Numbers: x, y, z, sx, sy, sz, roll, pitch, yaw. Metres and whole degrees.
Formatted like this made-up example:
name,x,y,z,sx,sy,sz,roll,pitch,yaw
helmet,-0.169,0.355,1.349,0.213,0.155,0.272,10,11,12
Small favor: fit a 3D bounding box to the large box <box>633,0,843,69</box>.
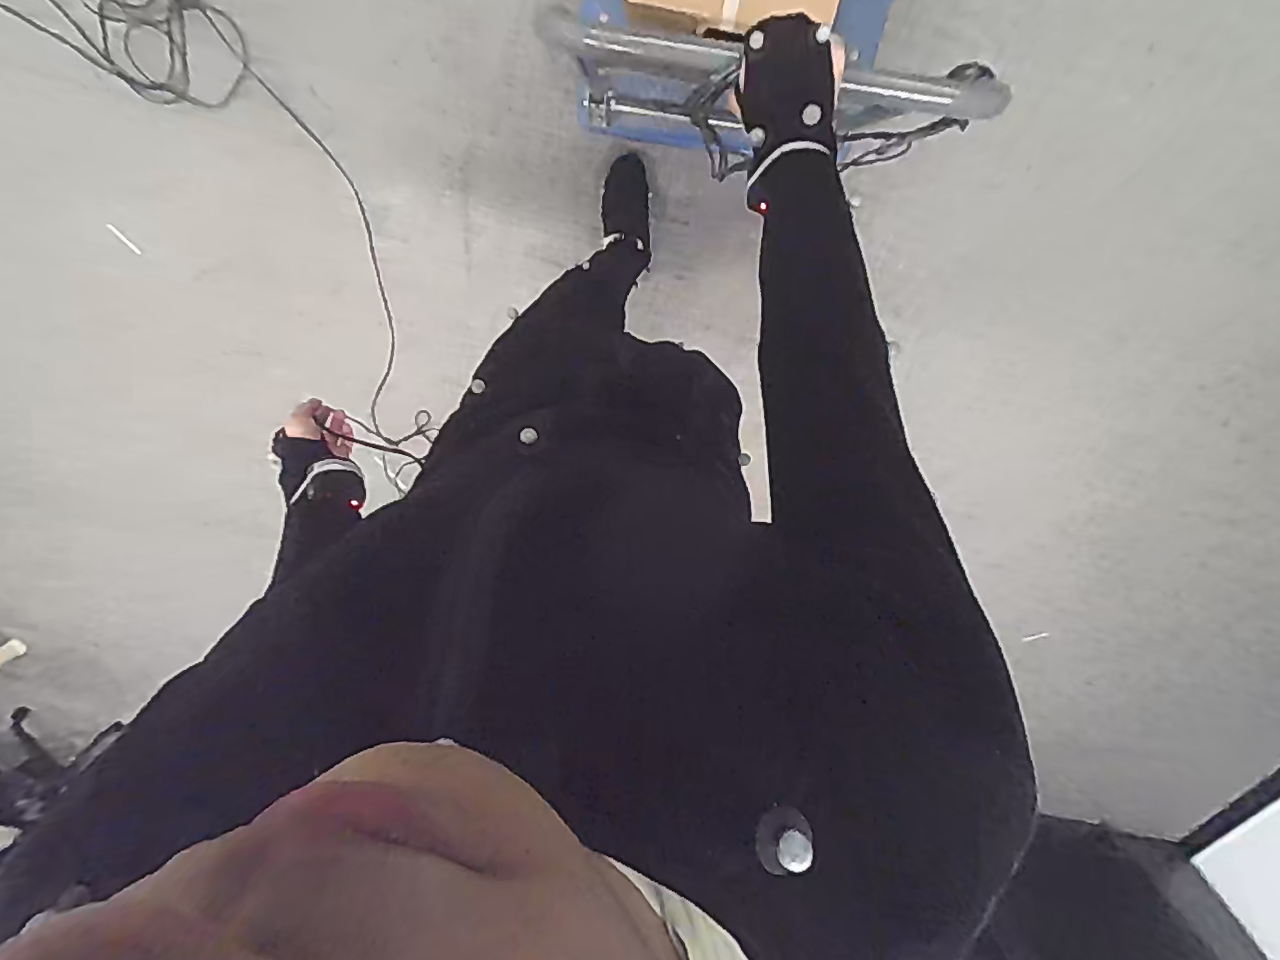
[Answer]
name,x,y,z,sx,sy,sz,roll,pitch,yaw
large box,0.169,-0.916,0.821,0.320,0.320,0.408,9,119,-4
